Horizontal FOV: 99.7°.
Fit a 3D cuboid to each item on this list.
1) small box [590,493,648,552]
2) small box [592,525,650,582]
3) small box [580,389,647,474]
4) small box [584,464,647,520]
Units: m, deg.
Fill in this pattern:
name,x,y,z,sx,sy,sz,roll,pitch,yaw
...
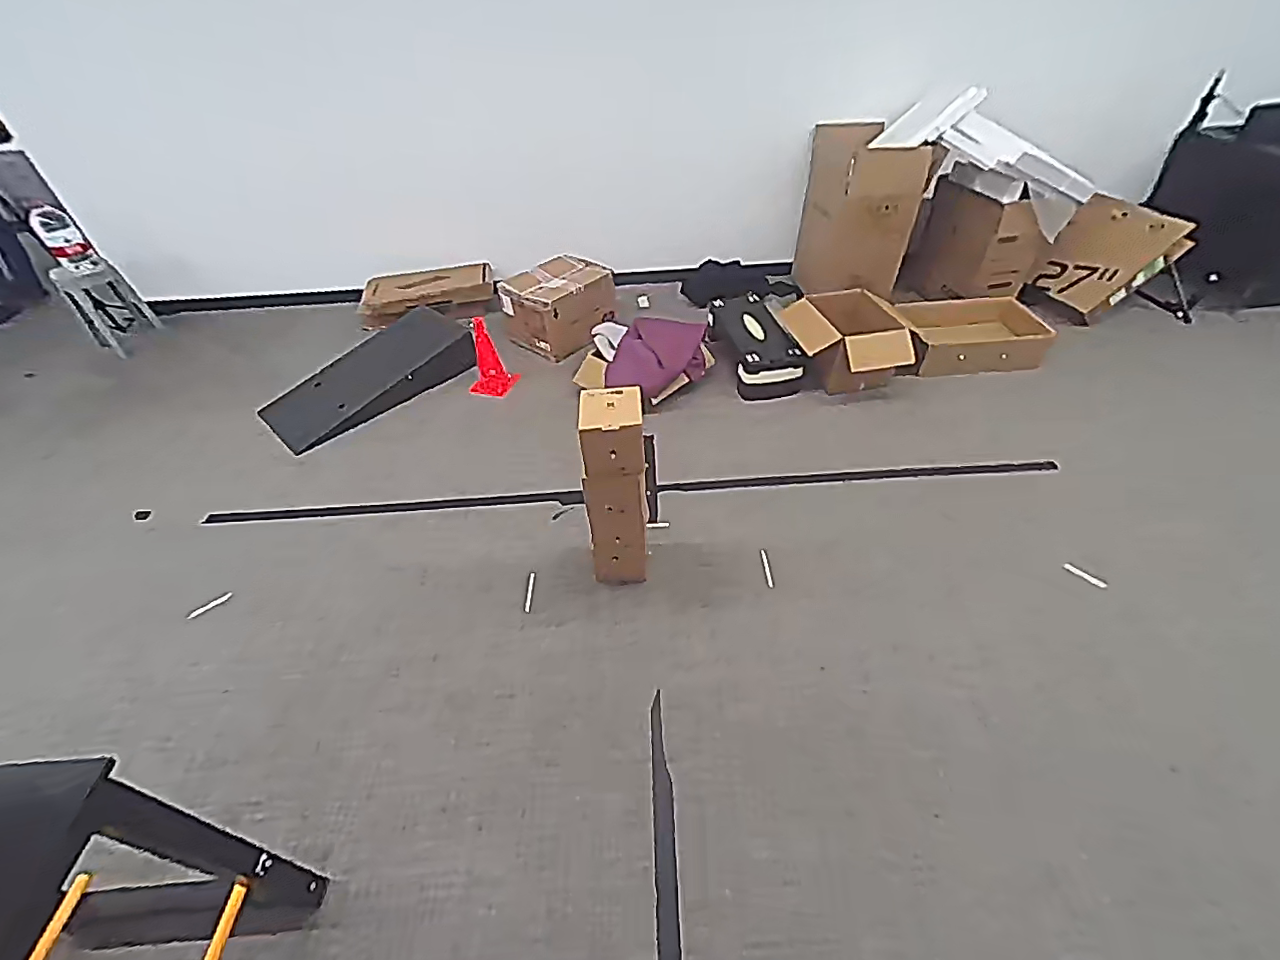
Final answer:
name,x,y,z,sx,sy,sz,roll,pitch,yaw
small box,-0.060,0.106,1.708,0.168,0.176,0.179,-1,44,3
small box,-0.060,0.228,1.817,0.179,0.176,0.168,0,44,3
small box,-0.069,-0.127,1.479,0.168,0.176,0.179,-4,44,1
small box,-0.067,-0.002,1.585,0.168,0.176,0.179,-1,45,4
